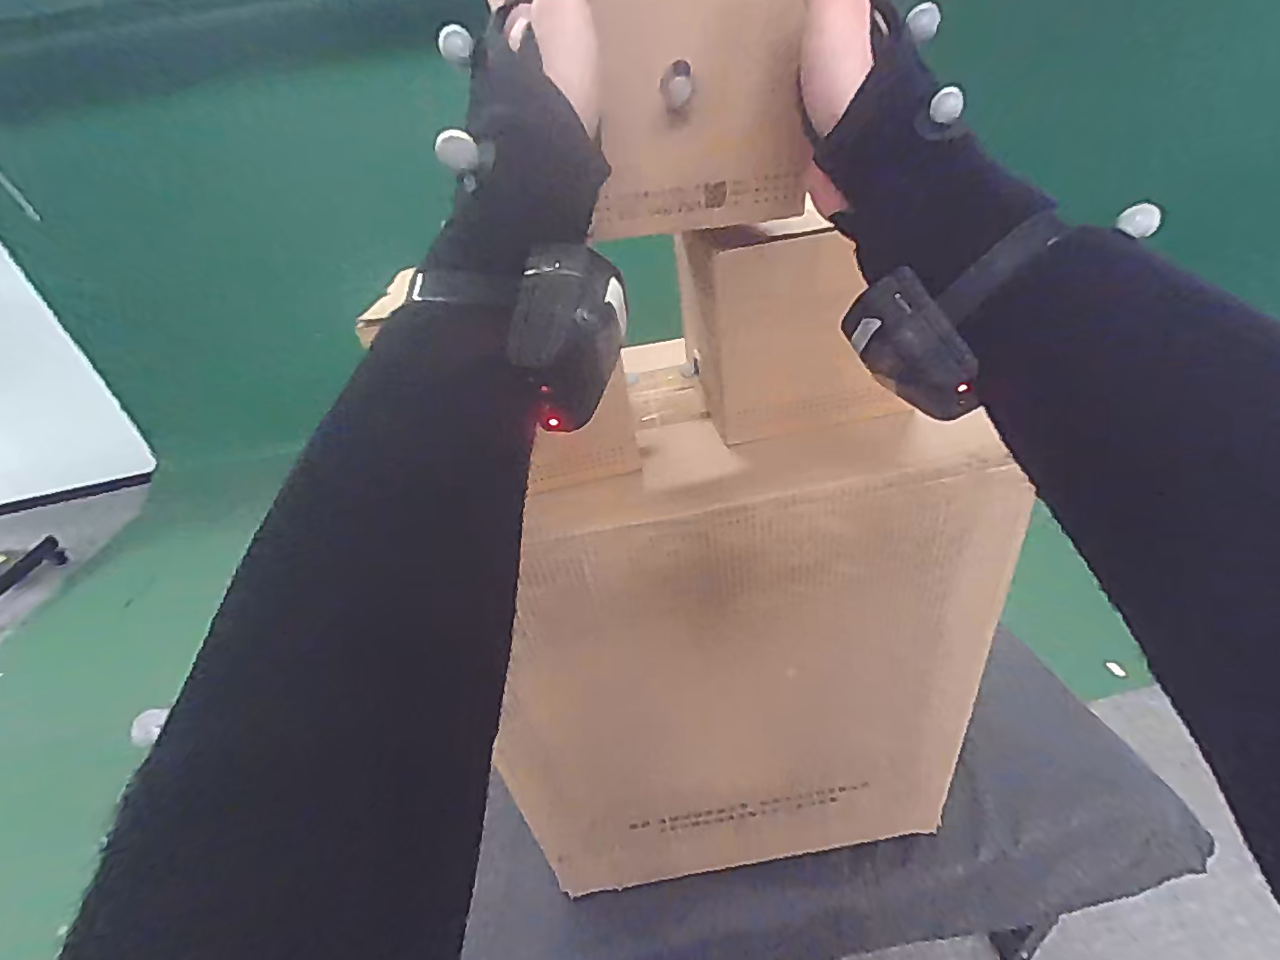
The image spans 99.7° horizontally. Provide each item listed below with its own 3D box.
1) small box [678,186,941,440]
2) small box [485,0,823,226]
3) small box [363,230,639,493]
[{"bbox_3d":[0.140,-0.157,0.504,0.179,0.176,0.168,-11,34,0],"label":"small box"},{"bbox_3d":[0.015,-0.291,0.381,0.179,0.176,0.168,-27,41,-23],"label":"small box"},{"bbox_3d":[-0.106,-0.106,0.490,0.179,0.176,0.168,-11,37,1],"label":"small box"}]
